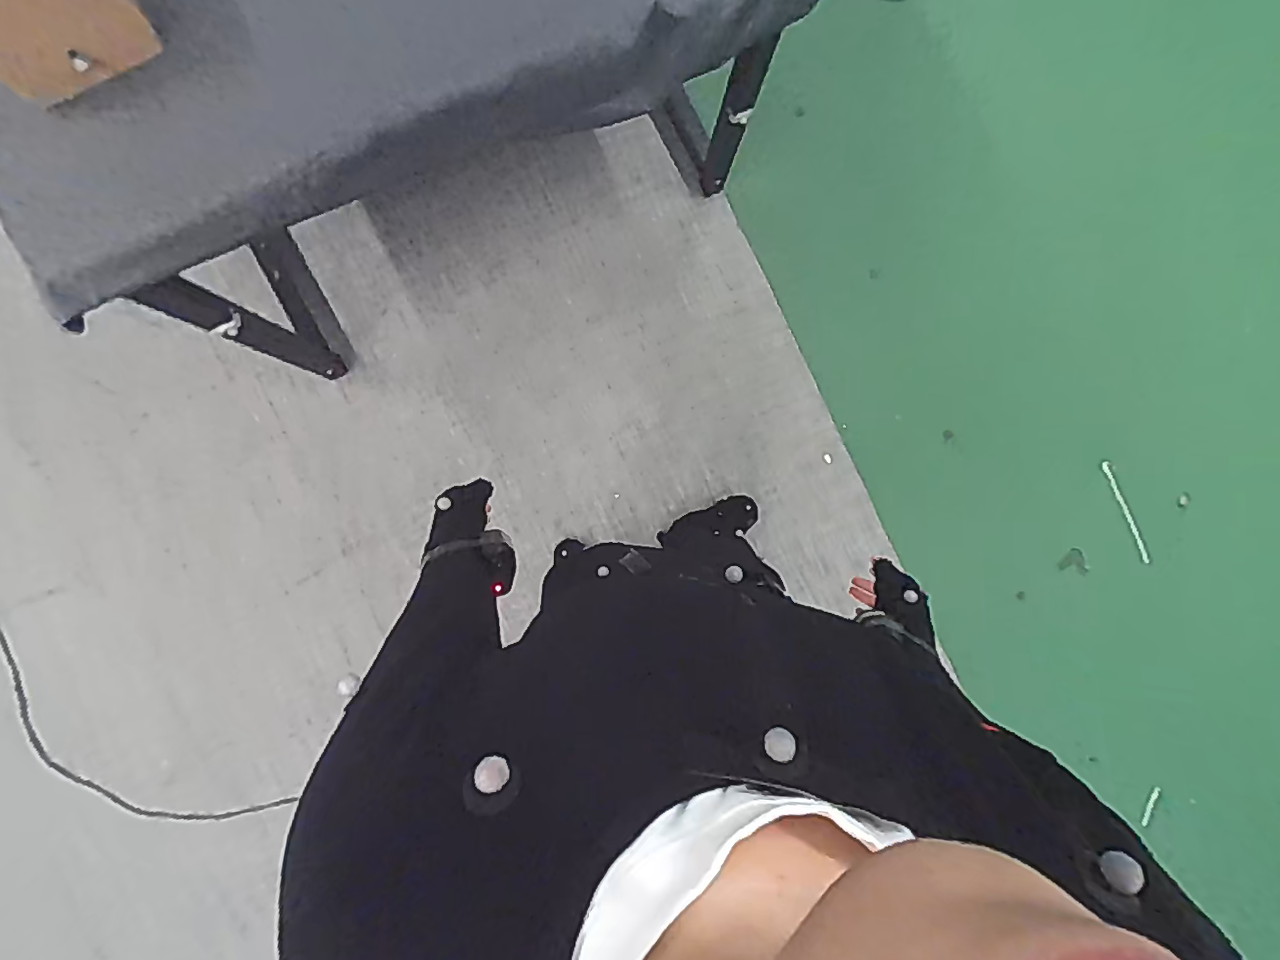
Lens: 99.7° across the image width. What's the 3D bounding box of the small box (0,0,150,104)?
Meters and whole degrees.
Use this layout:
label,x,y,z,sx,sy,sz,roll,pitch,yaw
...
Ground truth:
label,x,y,z,sx,sy,sz,roll,pitch,yaw
small box,-0.732,-0.593,0.624,0.179,0.176,0.168,-31,91,-5
